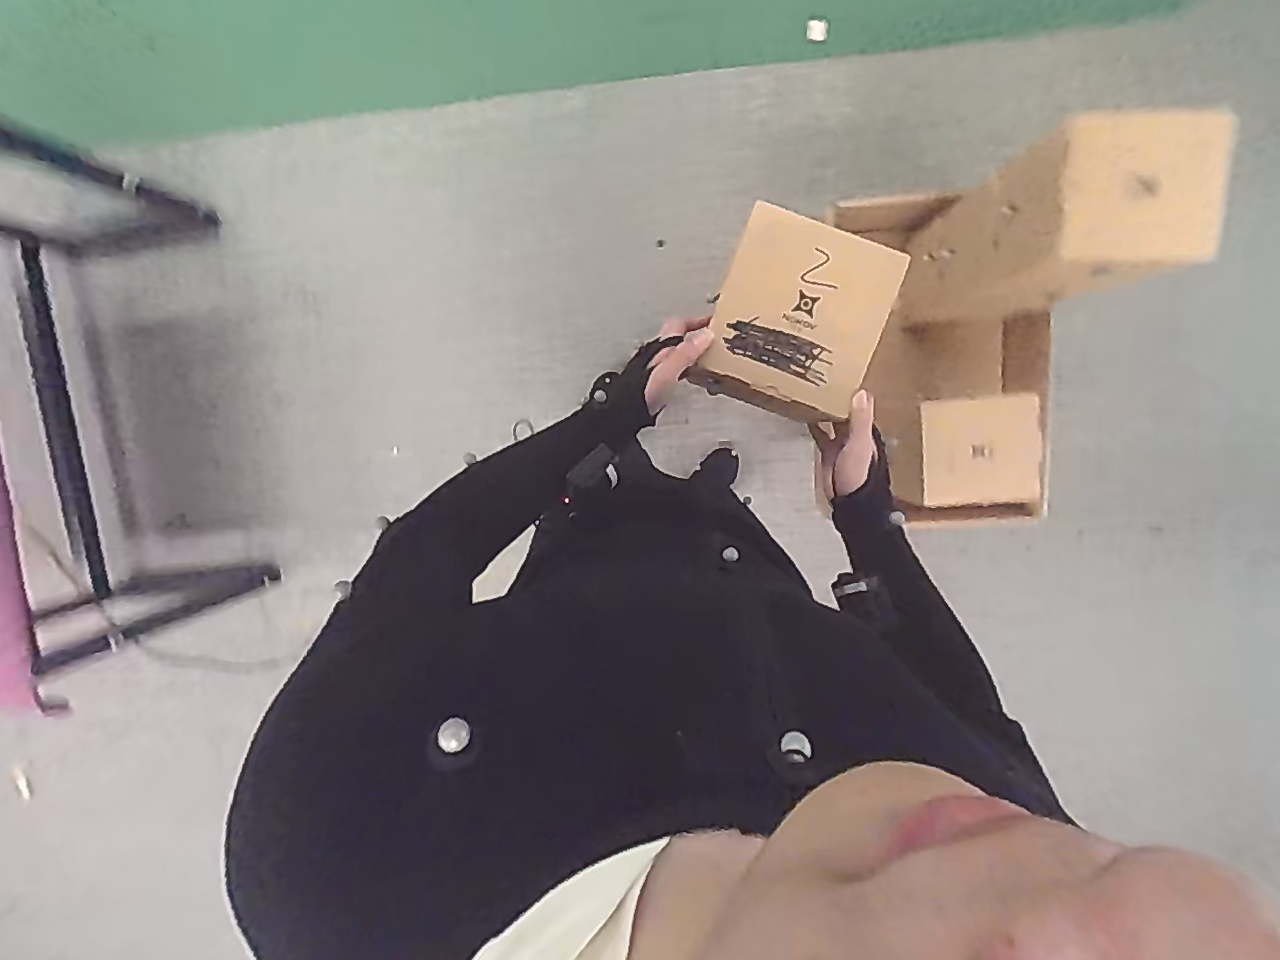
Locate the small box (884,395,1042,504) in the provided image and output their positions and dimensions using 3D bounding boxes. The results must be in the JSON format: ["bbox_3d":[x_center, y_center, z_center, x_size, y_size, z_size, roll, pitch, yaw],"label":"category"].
[{"bbox_3d":[0.533,-0.055,0.912,0.179,0.176,0.168,-3,96,5],"label":"small box"}]

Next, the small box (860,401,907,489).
[{"bbox_3d":[0.547,-0.073,1.074,0.179,0.176,0.168,-3,97,4],"label":"small box"}]

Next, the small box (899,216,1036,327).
[{"bbox_3d":[0.623,-0.391,1.032,0.179,0.176,0.168,0,97,4],"label":"small box"}]

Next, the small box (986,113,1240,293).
[{"bbox_3d":[0.599,-0.349,0.710,0.179,0.176,0.168,3,97,5],"label":"small box"}]

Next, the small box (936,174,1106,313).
[{"bbox_3d":[0.611,-0.370,0.870,0.179,0.176,0.168,2,96,5],"label":"small box"}]
